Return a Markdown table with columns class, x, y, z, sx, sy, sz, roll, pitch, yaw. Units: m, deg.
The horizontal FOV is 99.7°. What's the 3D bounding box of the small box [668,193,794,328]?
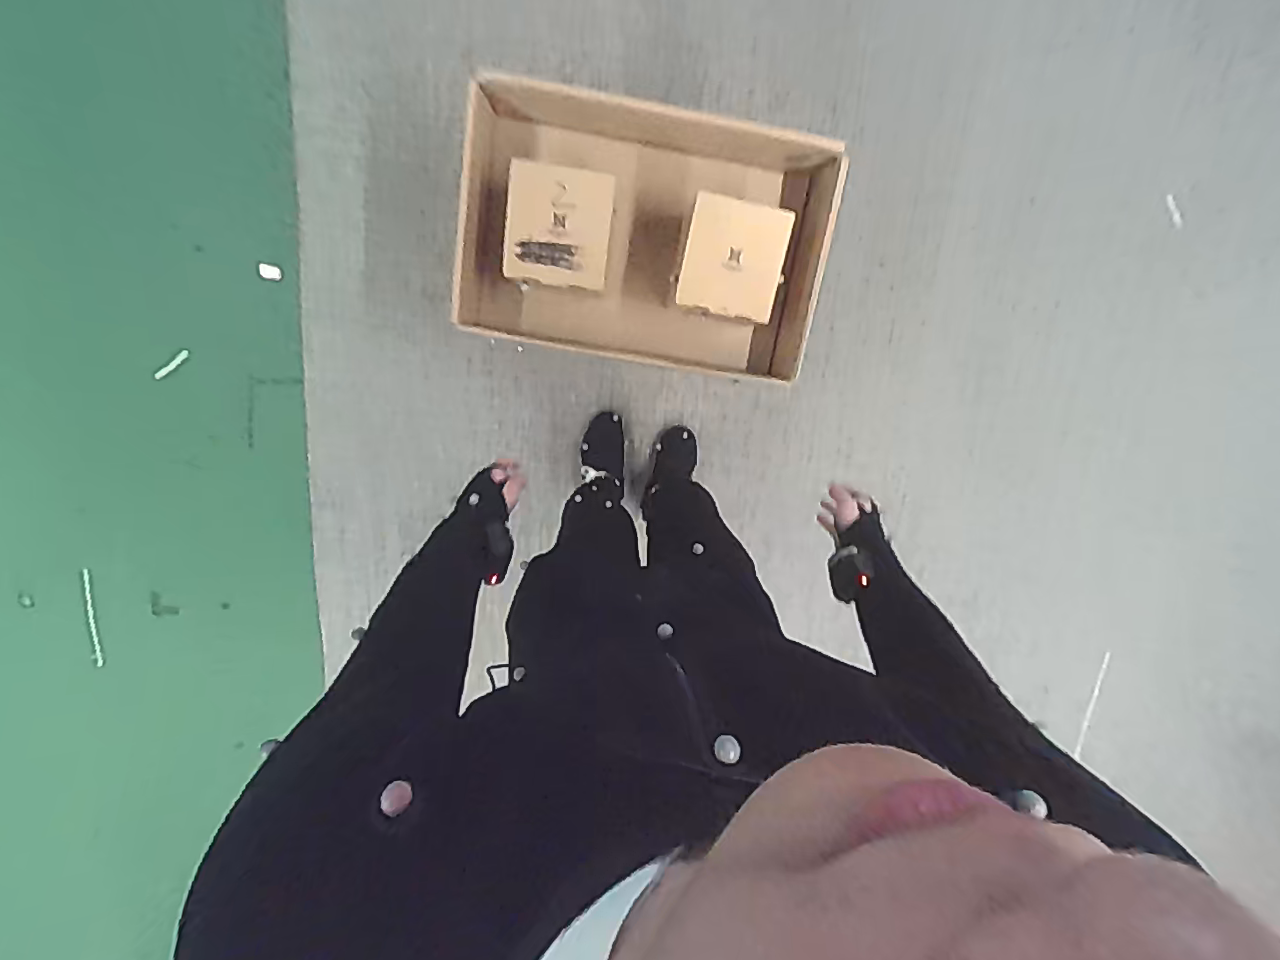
| class | x | y | z | sx | sy | sz | roll | pitch | yaw |
| --- | --- | --- | --- | --- | --- | --- | --- | --- | --- |
| small box | 0.150 | -0.377 | 0.960 | 0.168 | 0.176 | 0.179 | 10 | 103 | -5 |
